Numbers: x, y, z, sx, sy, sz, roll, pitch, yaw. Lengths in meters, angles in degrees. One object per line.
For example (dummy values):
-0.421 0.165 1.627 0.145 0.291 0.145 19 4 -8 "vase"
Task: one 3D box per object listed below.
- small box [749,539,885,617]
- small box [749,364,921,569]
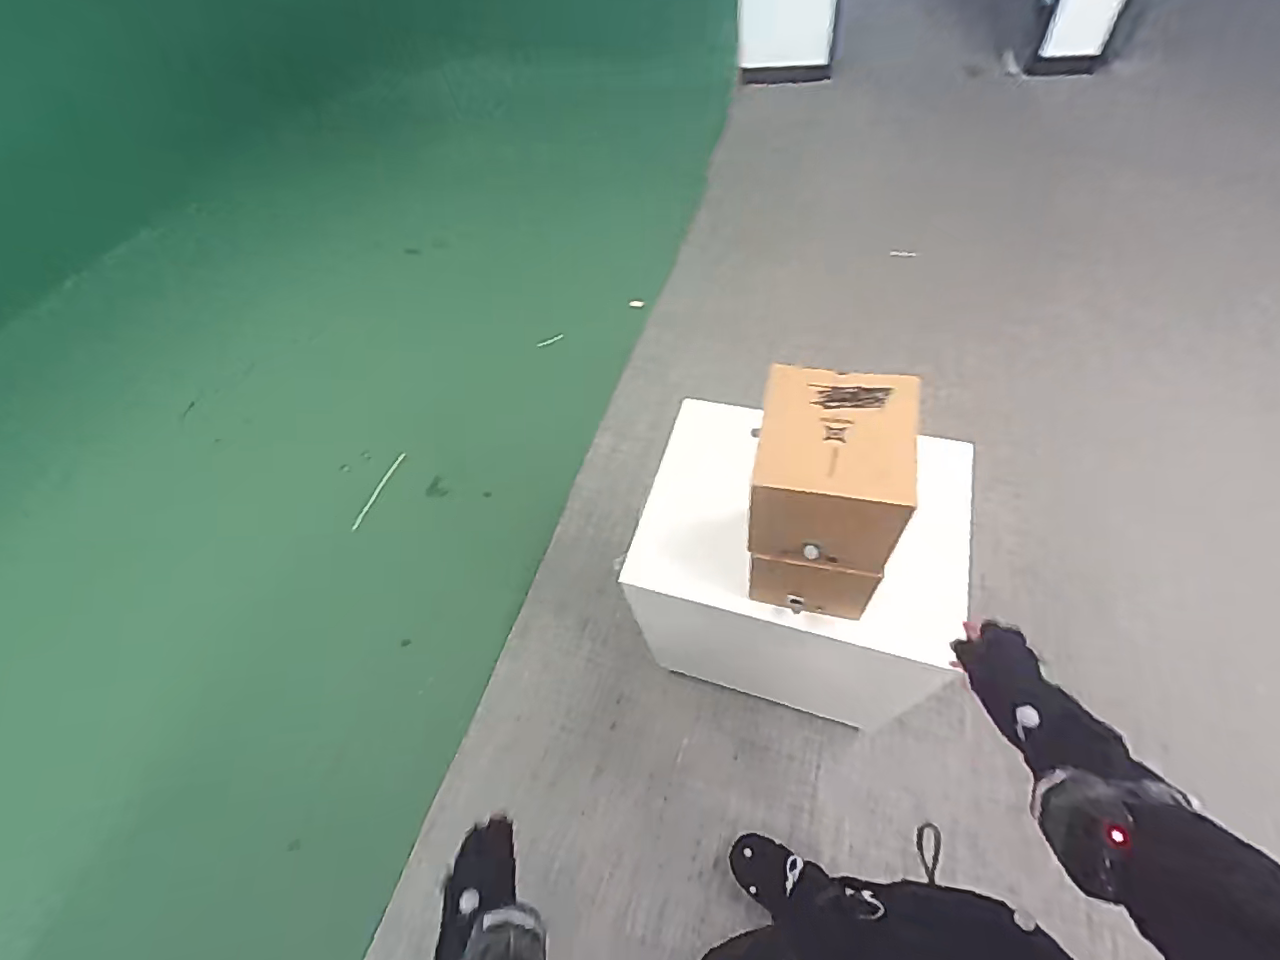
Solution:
0.250 0.077 0.779 0.168 0.176 0.179 6 60 16 "small box"
0.221 -0.015 0.646 0.168 0.176 0.179 5 57 14 "small box"
